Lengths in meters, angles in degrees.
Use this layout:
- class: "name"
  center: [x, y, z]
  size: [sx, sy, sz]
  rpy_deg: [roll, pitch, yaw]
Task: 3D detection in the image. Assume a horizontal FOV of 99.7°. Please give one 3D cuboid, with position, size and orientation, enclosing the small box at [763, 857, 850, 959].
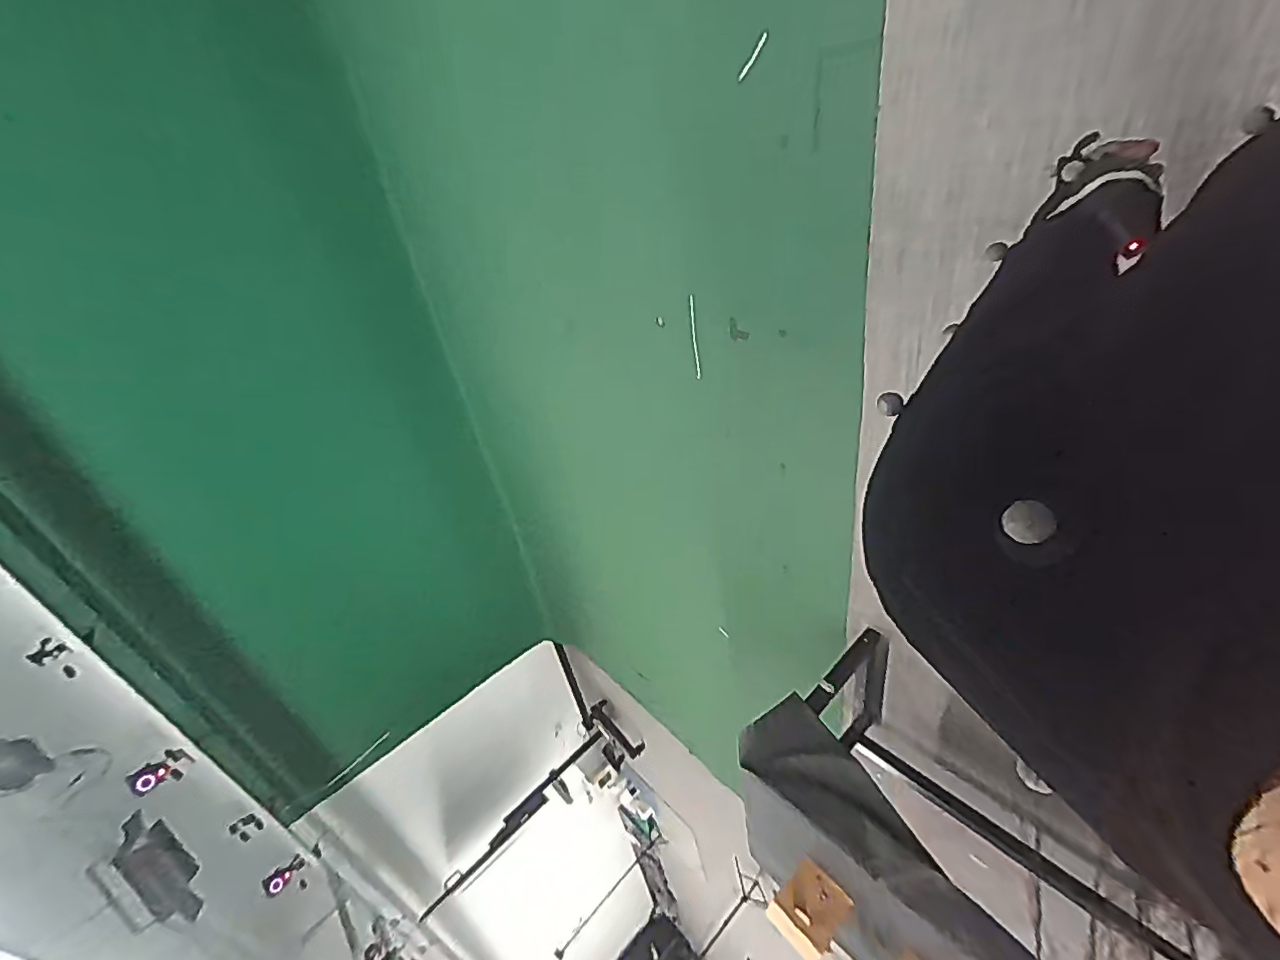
- class: "small box"
  center: [0.483, 1.251, 1.572]
  size: [0.168, 0.176, 0.179]
  rpy_deg: [35, 143, 35]
